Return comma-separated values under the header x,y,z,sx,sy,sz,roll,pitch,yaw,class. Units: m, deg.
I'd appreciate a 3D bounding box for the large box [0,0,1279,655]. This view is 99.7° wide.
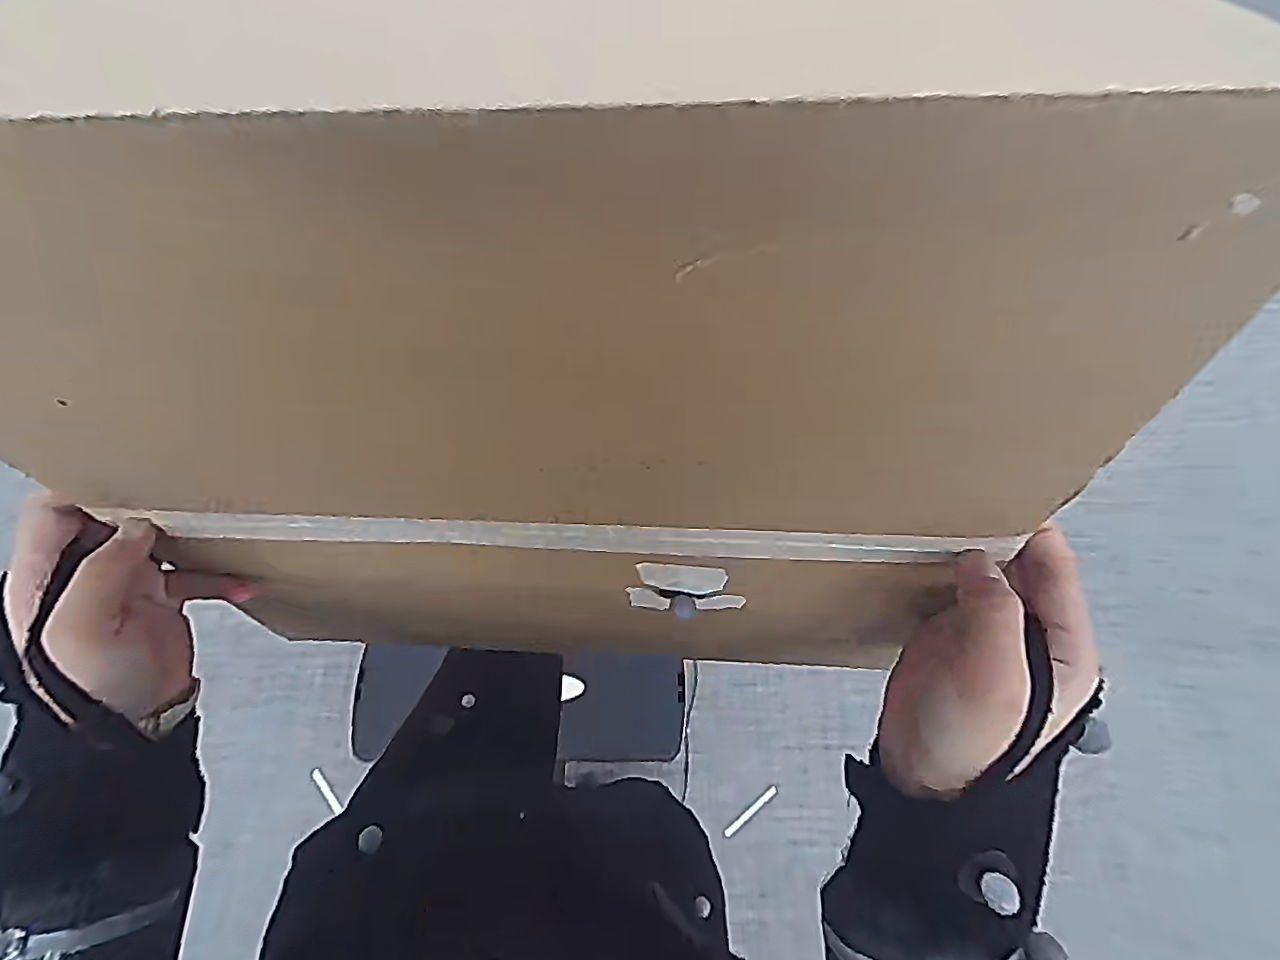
x,y,z,sx,sy,sz,roll,pitch,yaw,class
-0.042,-0.100,0.337,0.408,0.320,0.320,1,53,4,large box
